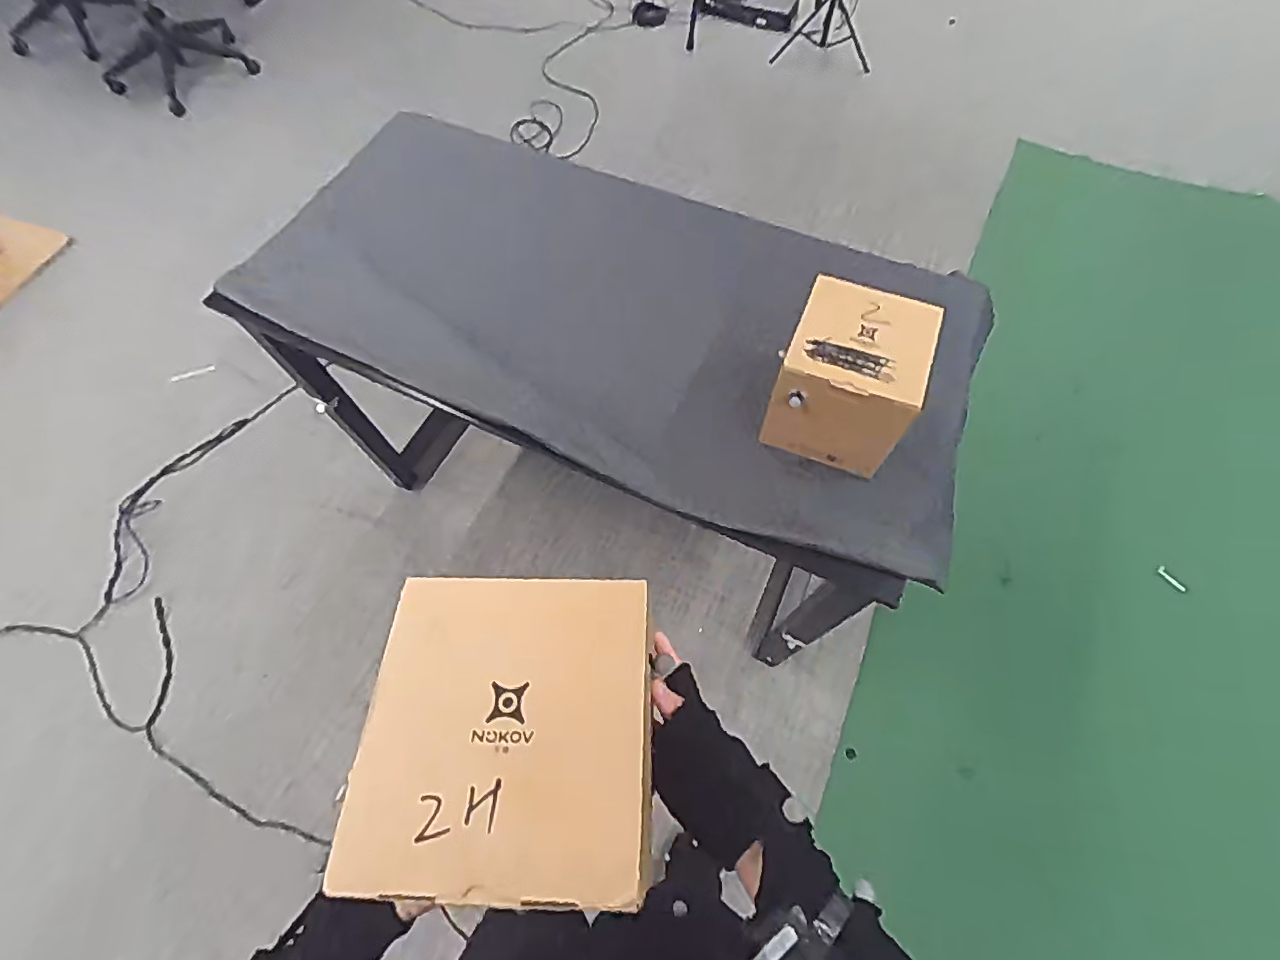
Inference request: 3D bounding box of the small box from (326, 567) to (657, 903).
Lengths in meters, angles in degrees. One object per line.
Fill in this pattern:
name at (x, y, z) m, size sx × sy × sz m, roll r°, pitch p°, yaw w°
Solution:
small box at (-0.074, 0.177, 0.384) m, size 0.168 × 0.176 × 0.179 m, roll 1°, pitch 58°, yaw 4°
